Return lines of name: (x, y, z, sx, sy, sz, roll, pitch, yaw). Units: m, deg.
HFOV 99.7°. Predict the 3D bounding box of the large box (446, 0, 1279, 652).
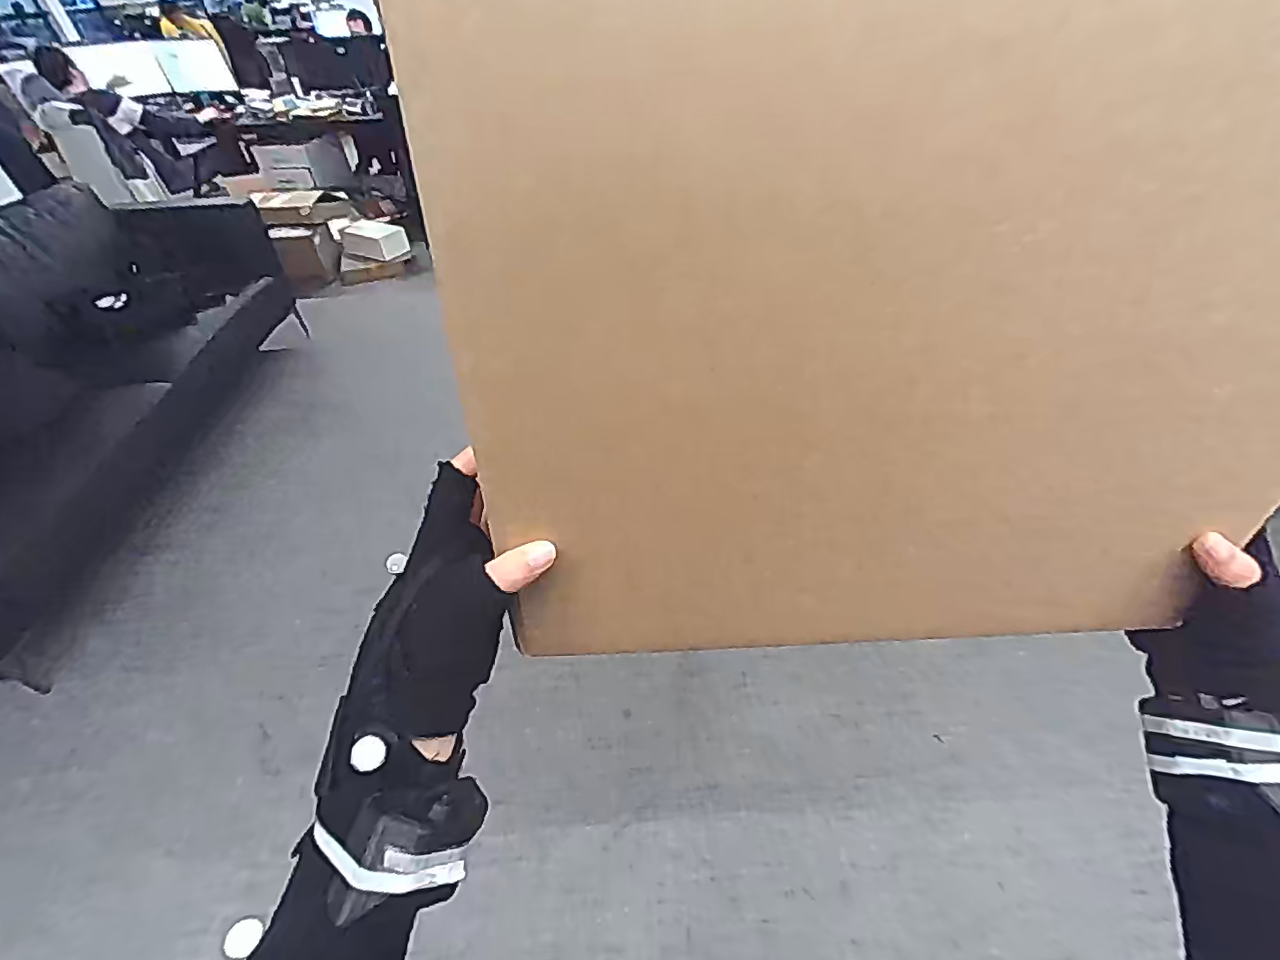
large box: (0.124, -0.113, 0.364, 0.408, 0.320, 0.320, -1, 35, -4)
